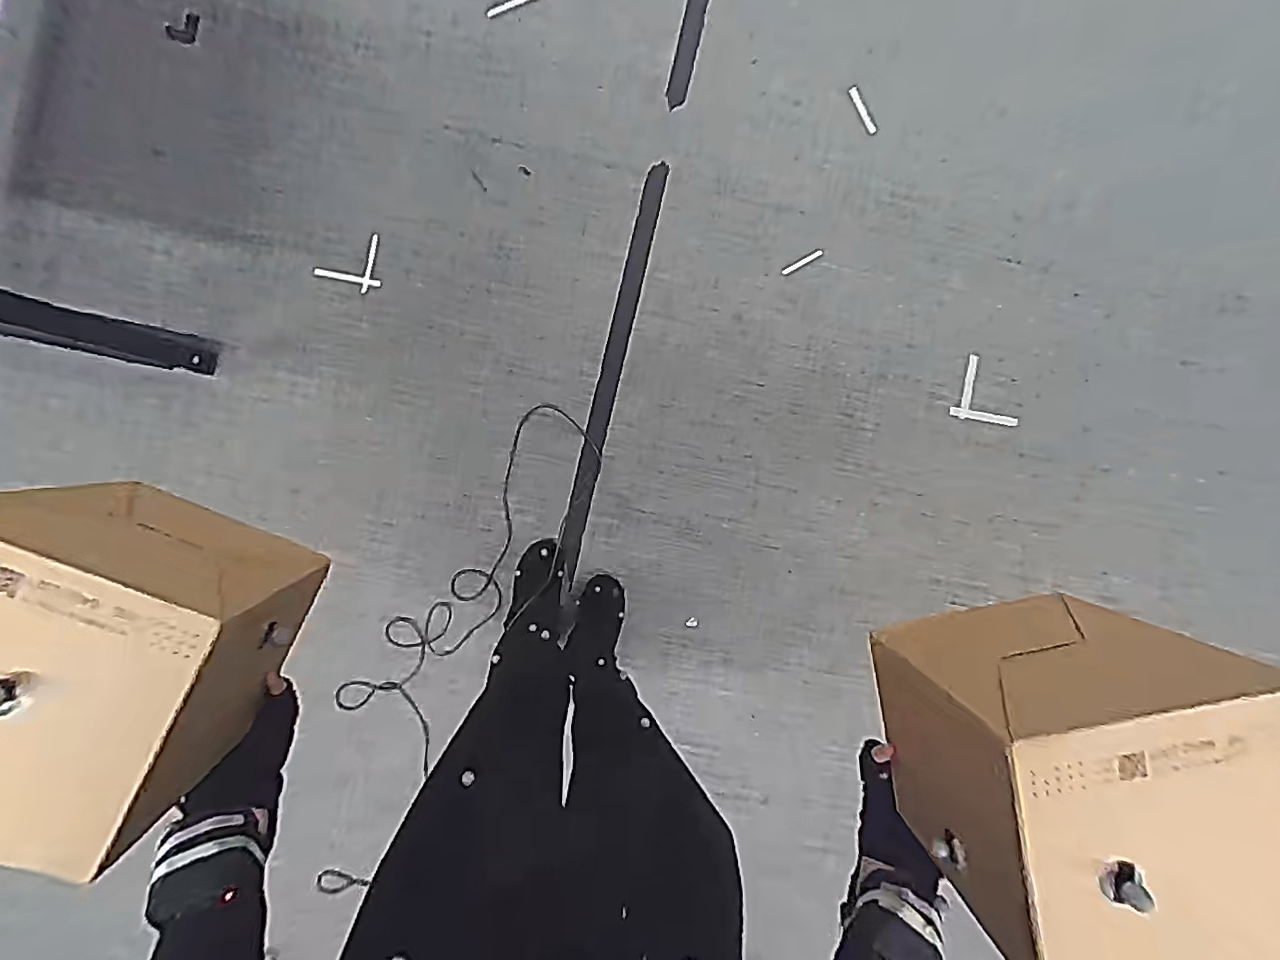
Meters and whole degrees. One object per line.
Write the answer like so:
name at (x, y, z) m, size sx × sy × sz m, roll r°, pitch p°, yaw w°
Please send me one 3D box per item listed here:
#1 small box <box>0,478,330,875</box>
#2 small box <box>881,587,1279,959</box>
small box at (-0.354, 0.107, 0.368) m, size 0.168 × 0.179 × 0.176 m, roll 27°, pitch 87°, yaw -11°
small box at (0.286, 0.185, 0.371) m, size 0.168 × 0.179 × 0.176 m, roll -9°, pitch 93°, yaw 0°
